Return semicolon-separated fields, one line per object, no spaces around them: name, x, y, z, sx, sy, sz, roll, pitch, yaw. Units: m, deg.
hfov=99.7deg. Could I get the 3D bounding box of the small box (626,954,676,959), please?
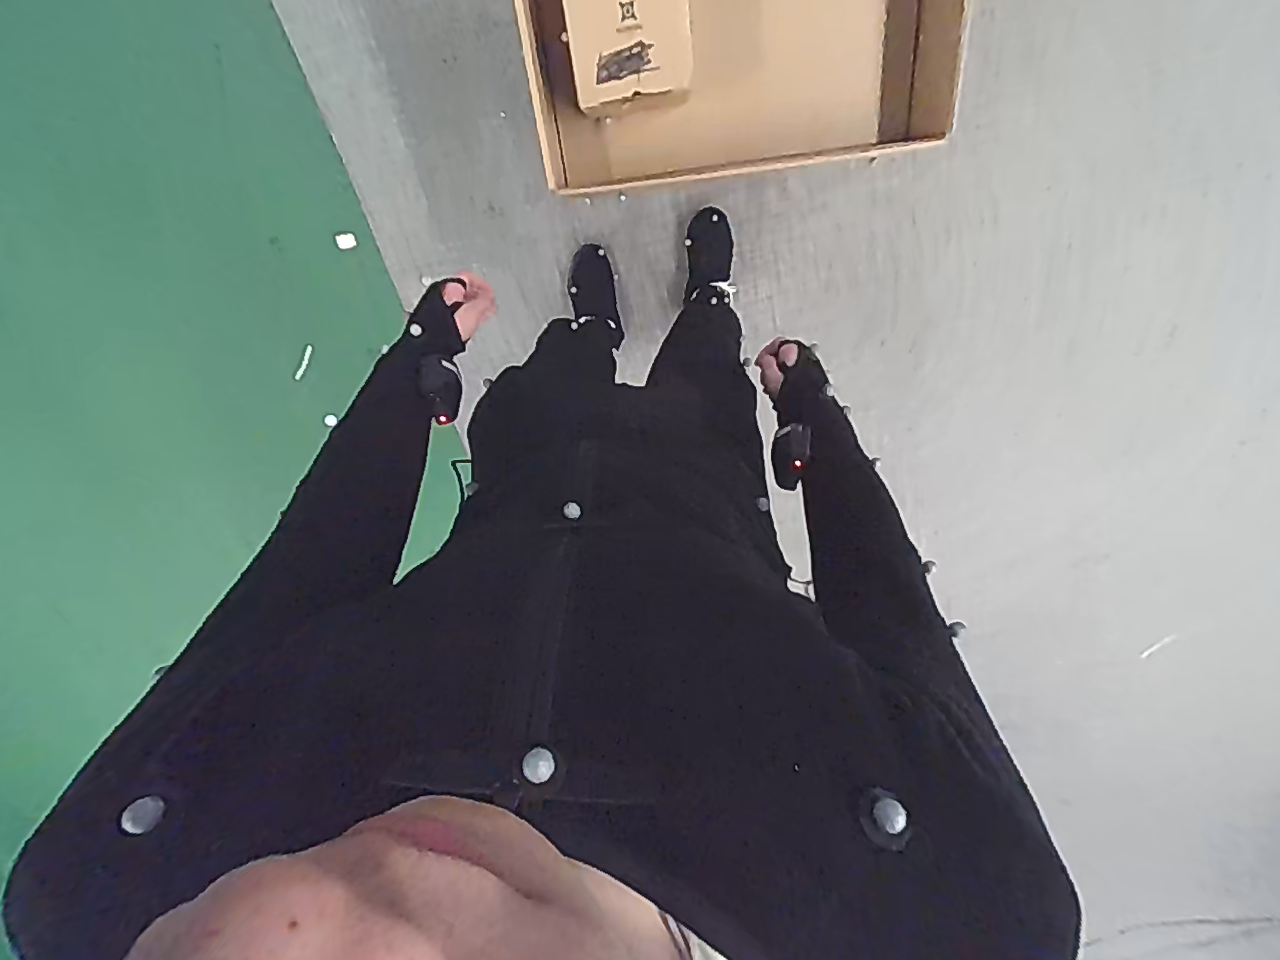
small box;0.045;1.593;1.656;0.168;0.176;0.179;-11;121;3
